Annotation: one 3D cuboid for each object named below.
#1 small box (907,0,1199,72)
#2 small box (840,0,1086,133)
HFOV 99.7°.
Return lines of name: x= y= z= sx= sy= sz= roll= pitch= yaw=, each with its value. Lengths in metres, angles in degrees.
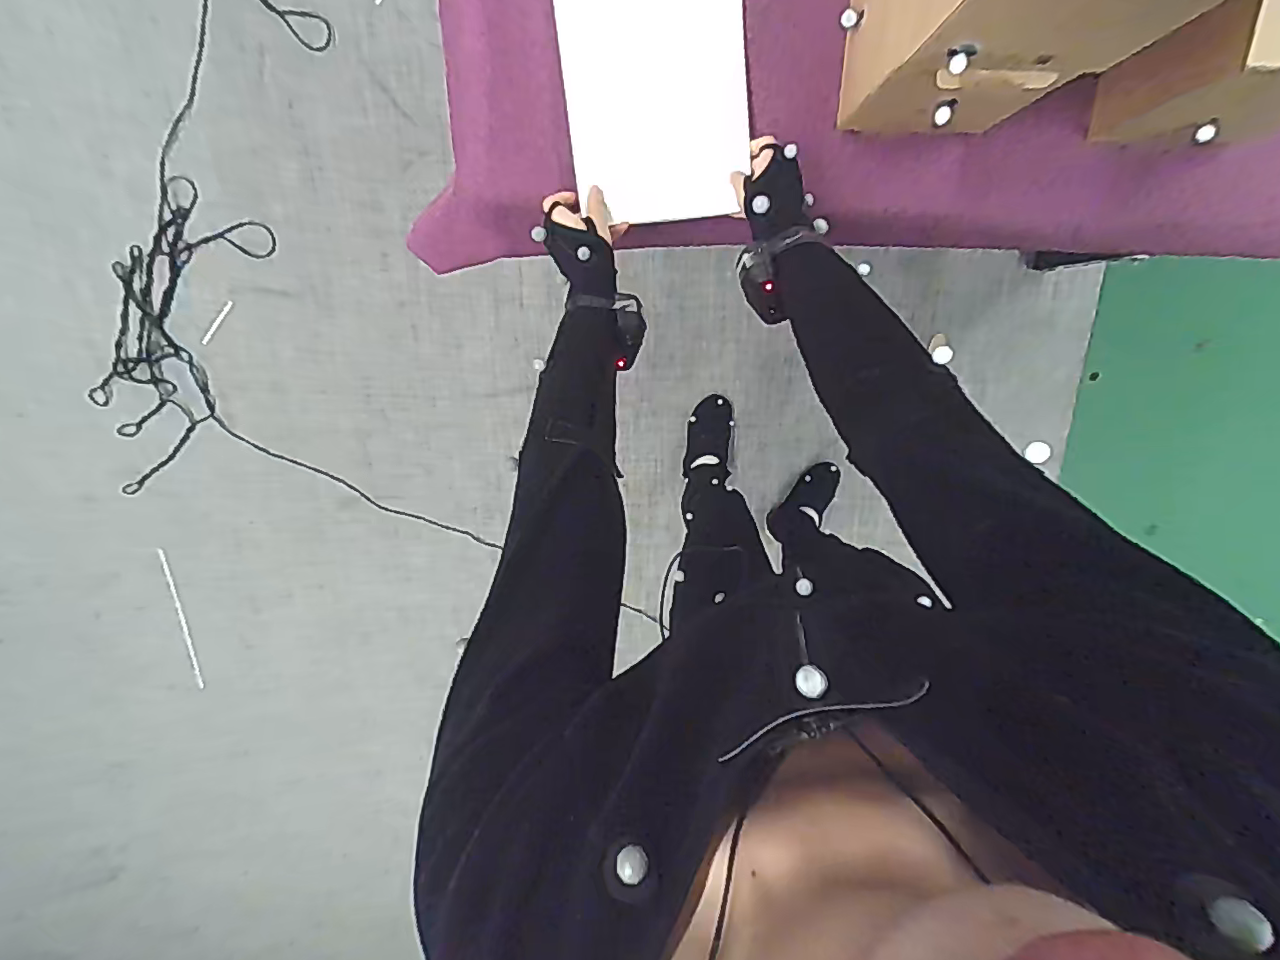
small box: x=0.298 y=-0.400 z=0.351 sx=0.168 sy=0.176 sz=0.179 roll=2 pitch=104 yaw=1
small box: x=0.302 y=-0.449 z=0.509 sx=0.168 sy=0.176 sz=0.179 roll=2 pitch=106 yaw=0
